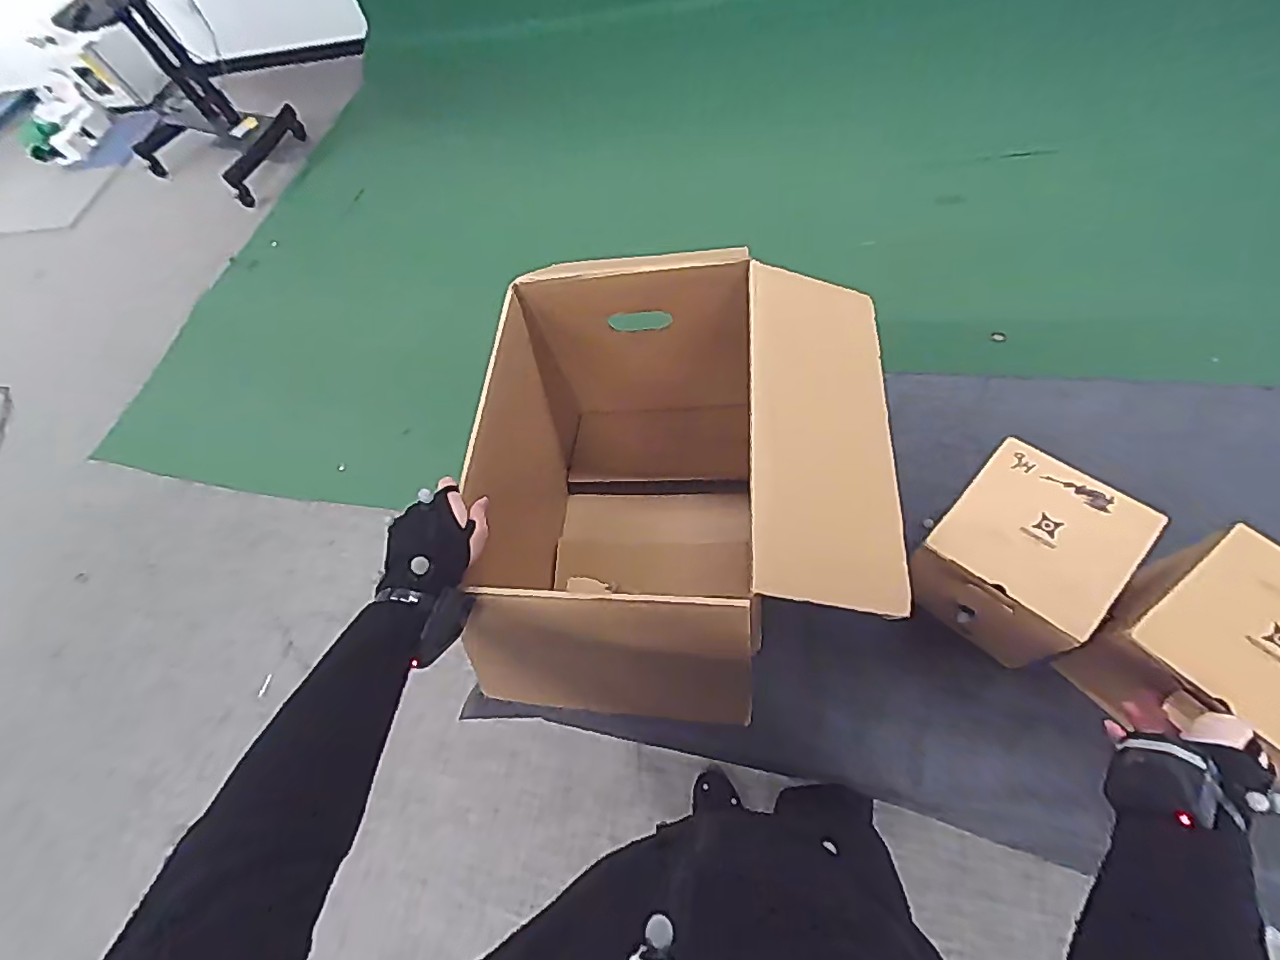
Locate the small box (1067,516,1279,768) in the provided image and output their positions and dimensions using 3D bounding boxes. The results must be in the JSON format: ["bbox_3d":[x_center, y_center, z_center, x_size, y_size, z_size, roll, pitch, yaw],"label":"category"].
[{"bbox_3d":[0.599,0.176,0.562,0.179,0.176,0.168,-39,63,-9],"label":"small box"}]
